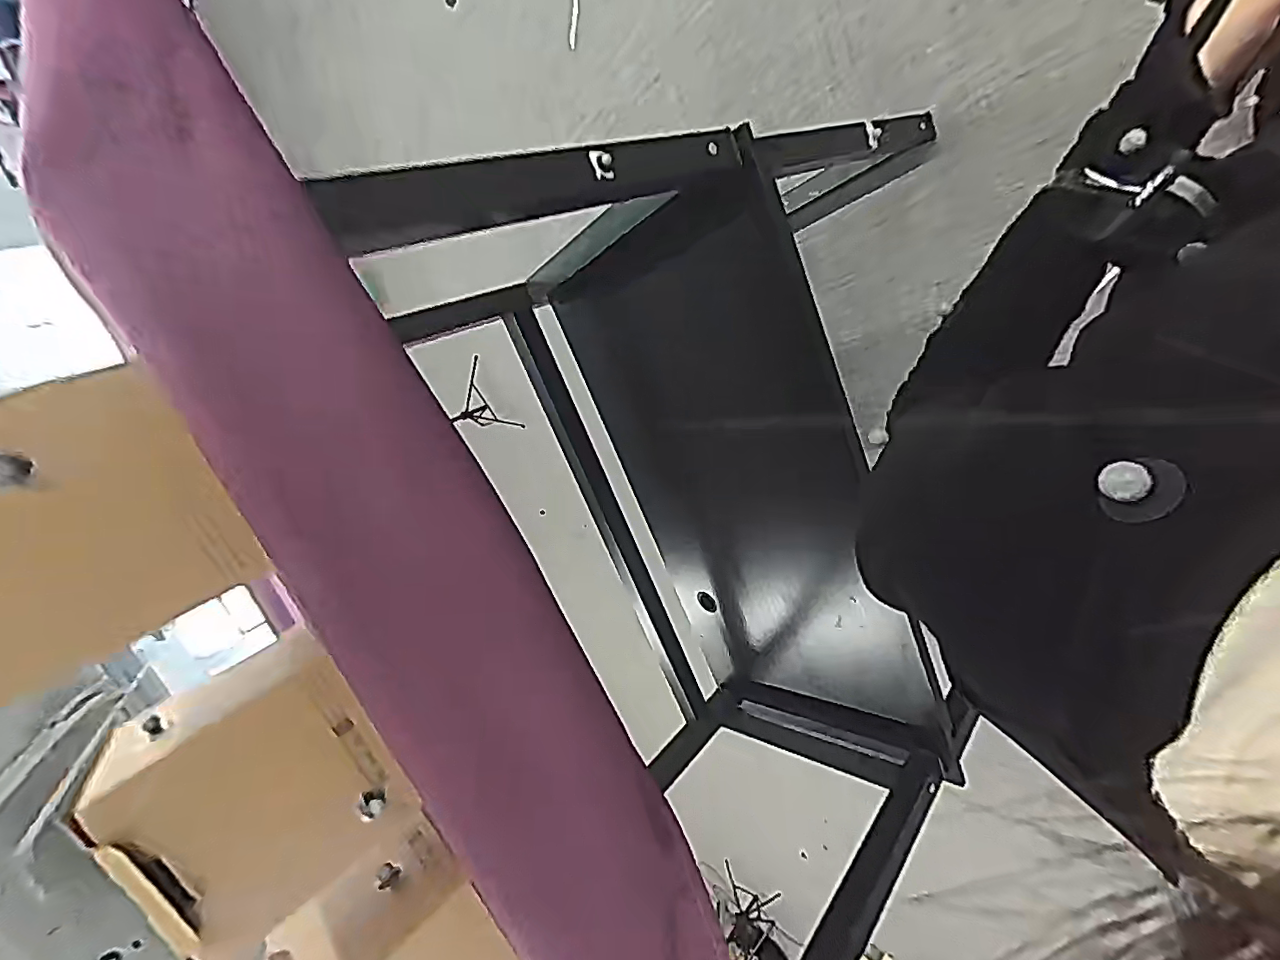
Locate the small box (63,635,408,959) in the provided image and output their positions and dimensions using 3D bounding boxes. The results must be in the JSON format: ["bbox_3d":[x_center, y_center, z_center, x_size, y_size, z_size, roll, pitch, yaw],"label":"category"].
[{"bbox_3d":[-0.333,0.260,0.477,0.179,0.176,0.168,-6,112,53],"label":"small box"}]

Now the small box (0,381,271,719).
[{"bbox_3d":[-0.417,0.035,0.404,0.168,0.176,0.179,1,118,51],"label":"small box"}]

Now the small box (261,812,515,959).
[{"bbox_3d":[-0.241,0.492,0.545,0.168,0.176,0.179,-1,115,50],"label":"small box"}]
